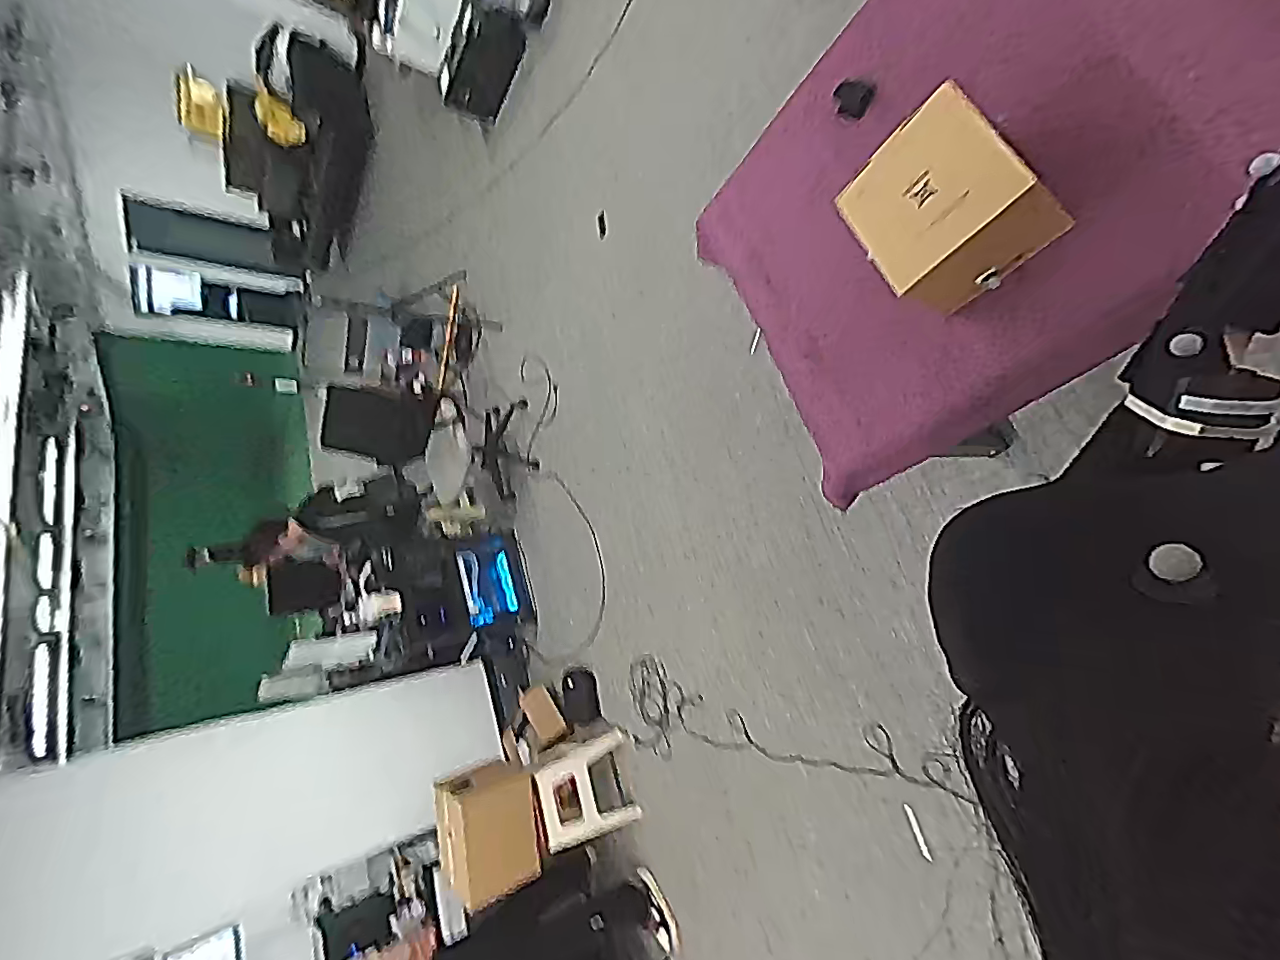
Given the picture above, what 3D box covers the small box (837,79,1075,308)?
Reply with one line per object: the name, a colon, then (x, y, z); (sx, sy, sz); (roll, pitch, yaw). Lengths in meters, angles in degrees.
small box: (0.394, -0.343, 0.682); (0.168, 0.176, 0.179); (-44, 60, 43)
